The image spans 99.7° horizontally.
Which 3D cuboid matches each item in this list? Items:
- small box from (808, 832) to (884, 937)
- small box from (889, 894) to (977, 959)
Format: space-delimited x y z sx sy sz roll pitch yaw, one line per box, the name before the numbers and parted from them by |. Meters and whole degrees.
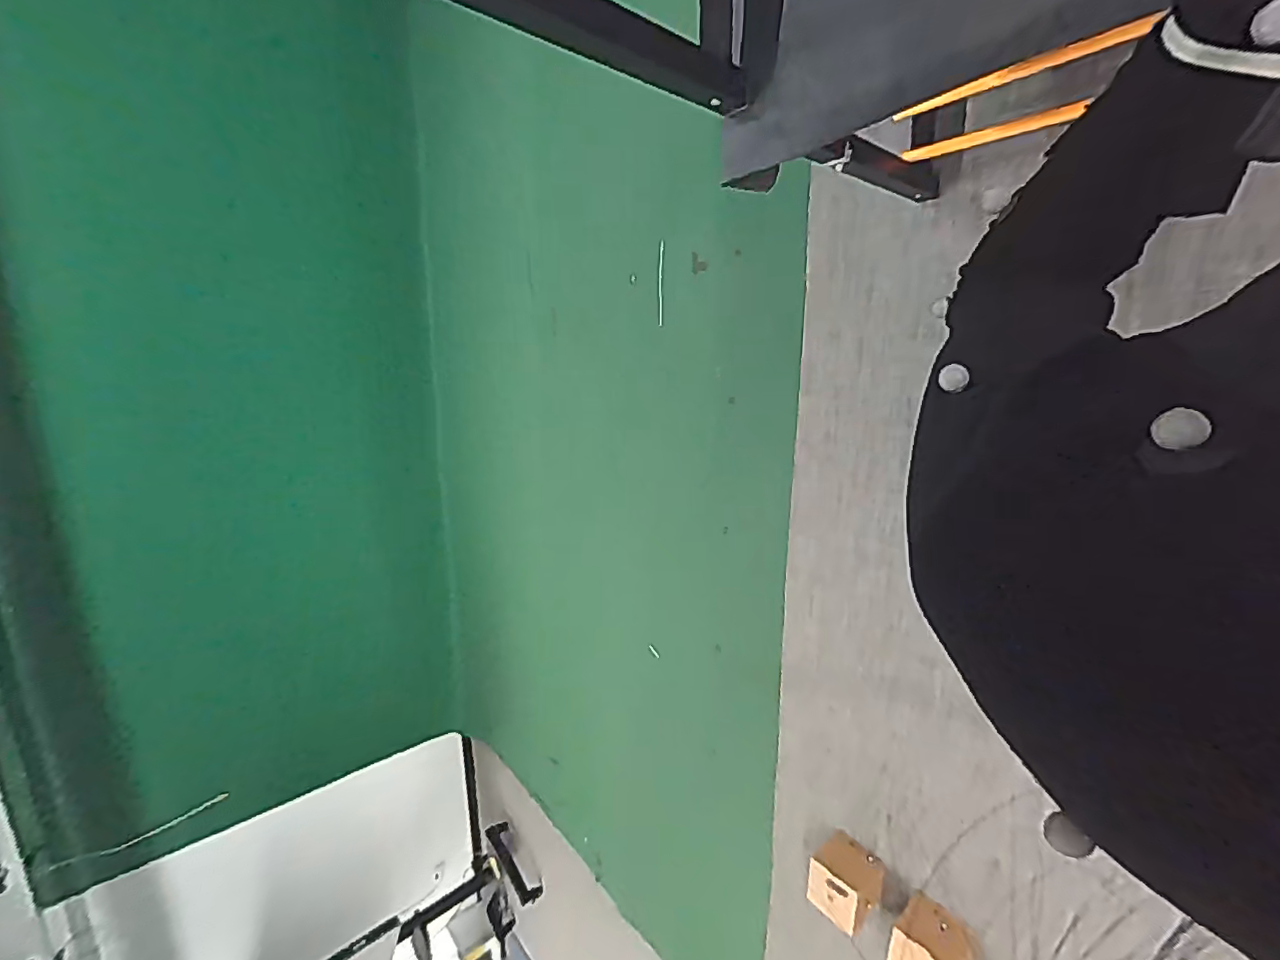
small box | 0.672 1.303 1.758 0.168 0.176 0.179 17 111 48
small box | 0.845 1.367 1.562 0.168 0.176 0.179 18 111 48
